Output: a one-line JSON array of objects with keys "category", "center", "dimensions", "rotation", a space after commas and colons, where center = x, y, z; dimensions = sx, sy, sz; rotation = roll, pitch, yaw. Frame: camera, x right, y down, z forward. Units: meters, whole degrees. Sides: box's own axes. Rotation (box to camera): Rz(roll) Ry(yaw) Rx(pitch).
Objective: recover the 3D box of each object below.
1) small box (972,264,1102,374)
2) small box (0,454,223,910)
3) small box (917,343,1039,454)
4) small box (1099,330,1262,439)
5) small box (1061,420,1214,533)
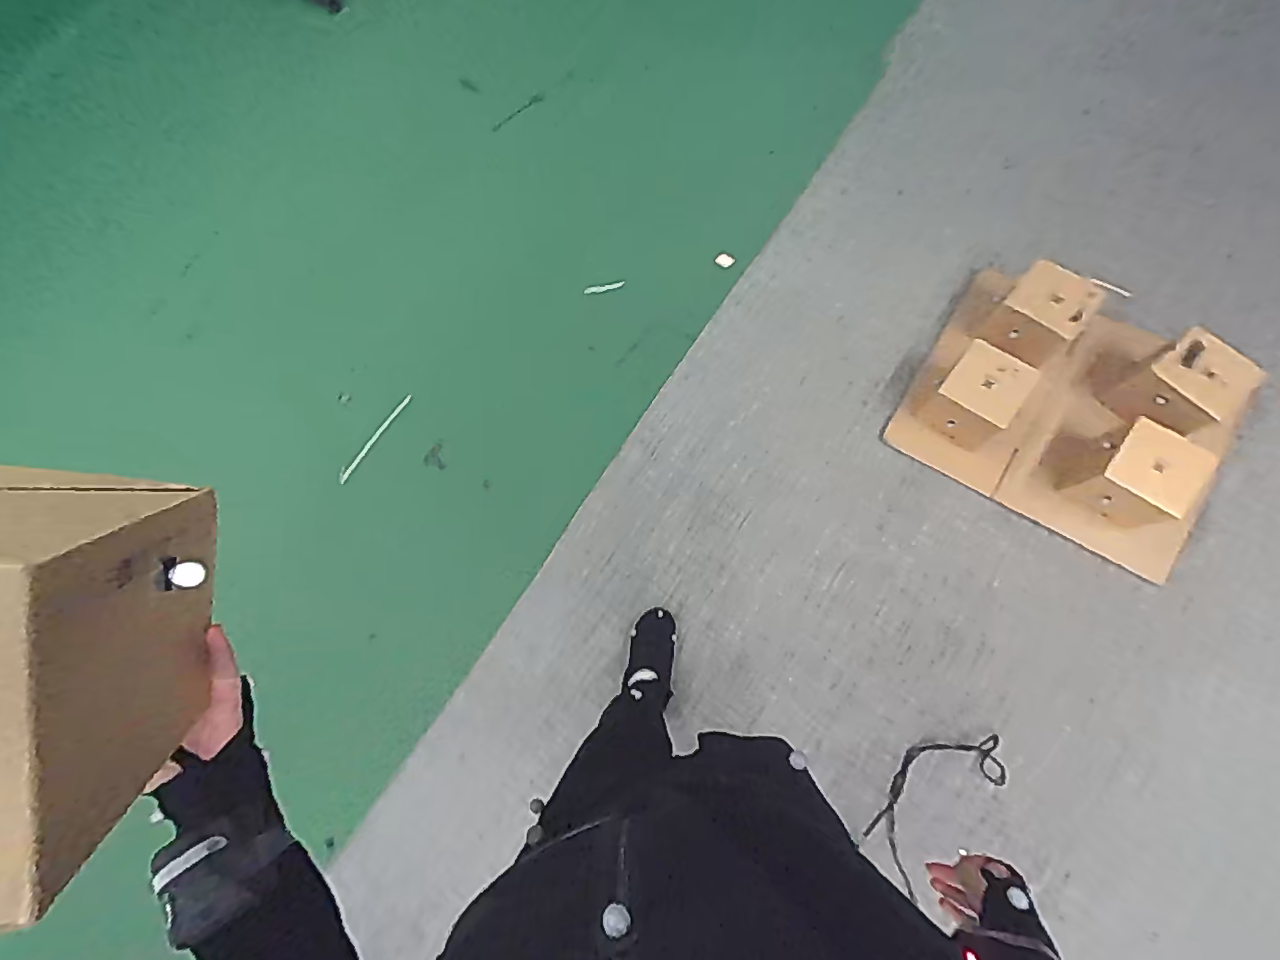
[{"category": "small box", "center": [0.993, -0.401, 1.373], "dimensions": [0.179, 0.176, 0.168], "rotation": [38, 81, 16]}, {"category": "small box", "center": [-0.344, 0.077, 0.268], "dimensions": [0.179, 0.168, 0.176], "rotation": [7, 98, -20]}, {"category": "small box", "center": [0.816, -0.192, 1.330], "dimensions": [0.168, 0.176, 0.179], "rotation": [37, 80, 15]}, {"category": "small box", "center": [1.261, -0.209, 1.279], "dimensions": [0.168, 0.176, 0.179], "rotation": [-40, 74, -6]}, {"category": "small box", "center": [1.118, 0.000, 1.234], "dimensions": [0.168, 0.176, 0.179], "rotation": [36, 80, 15]}]
